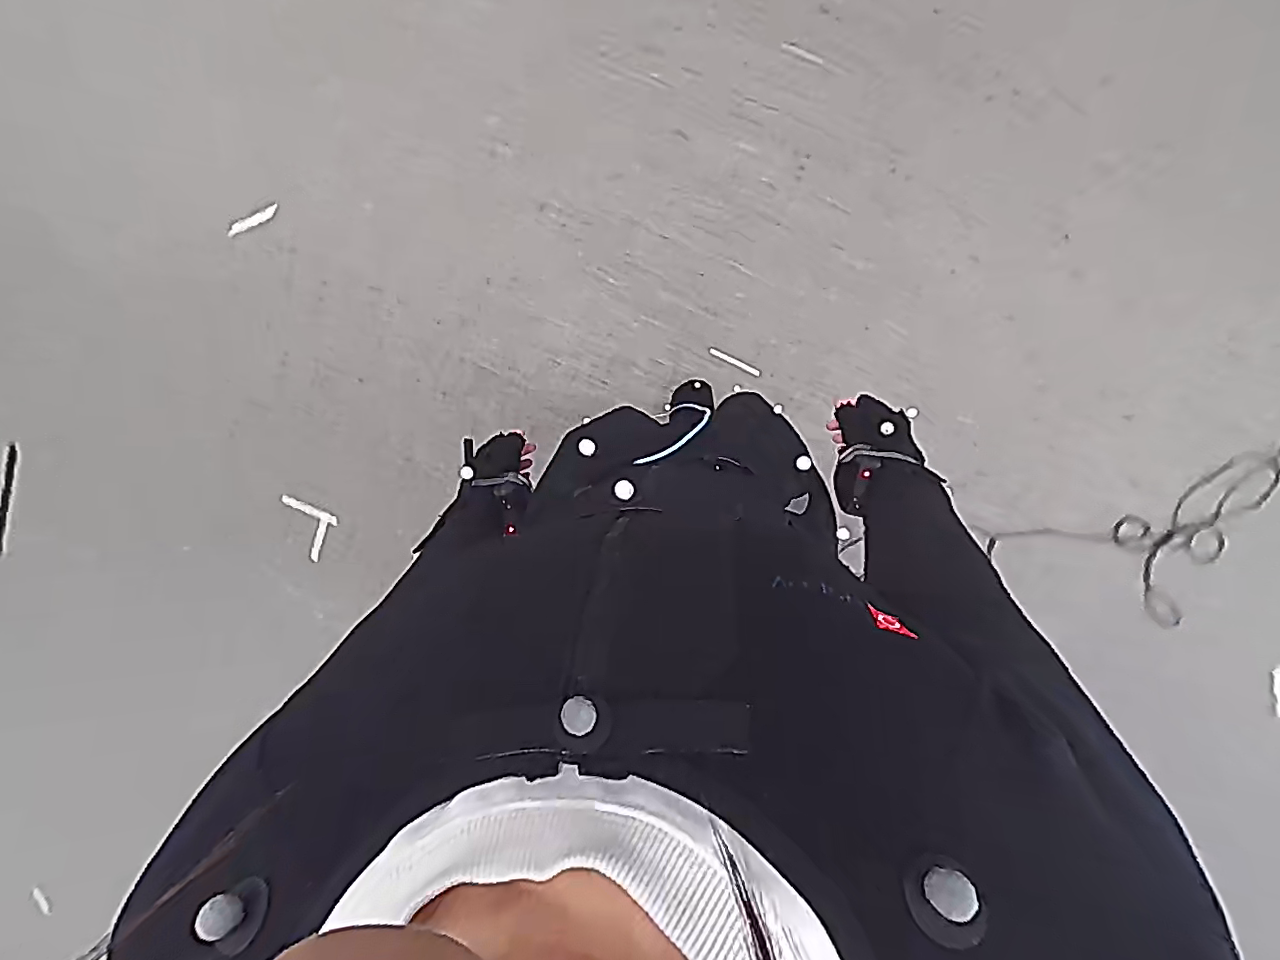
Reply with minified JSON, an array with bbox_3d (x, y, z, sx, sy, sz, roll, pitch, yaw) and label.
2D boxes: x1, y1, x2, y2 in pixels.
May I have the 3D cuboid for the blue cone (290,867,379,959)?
[{"bbox_3d":[-1.007,1.444,1.670,0.192,0.380,0.193,30,103,1],"label":"blue cone"}]
